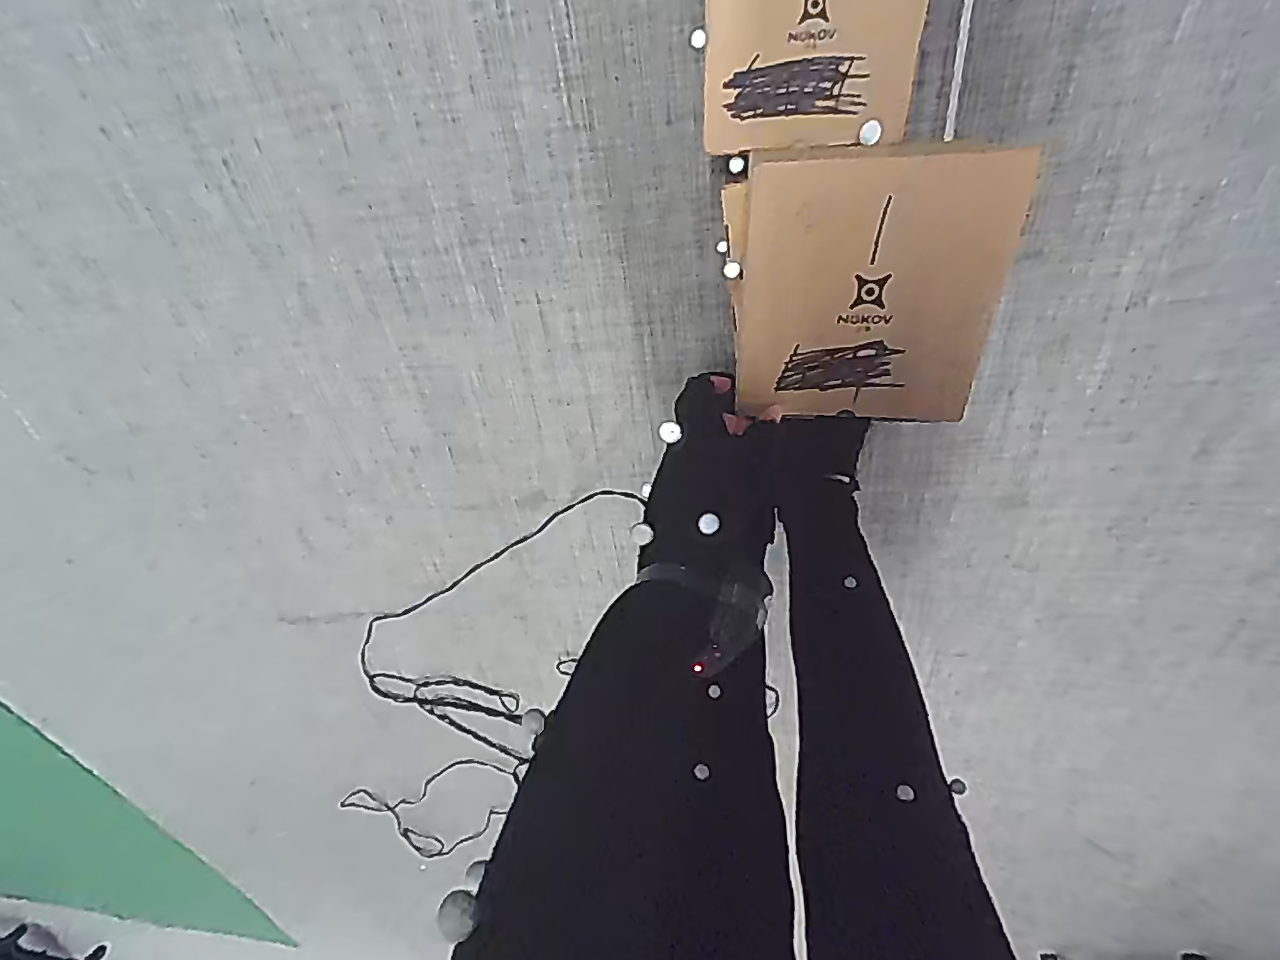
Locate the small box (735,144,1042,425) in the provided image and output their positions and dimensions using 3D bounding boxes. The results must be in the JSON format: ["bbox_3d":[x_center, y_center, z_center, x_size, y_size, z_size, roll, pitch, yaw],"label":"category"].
[{"bbox_3d":[0.167,-0.162,0.432,0.168,0.176,0.179,3,123,9],"label":"small box"}]
